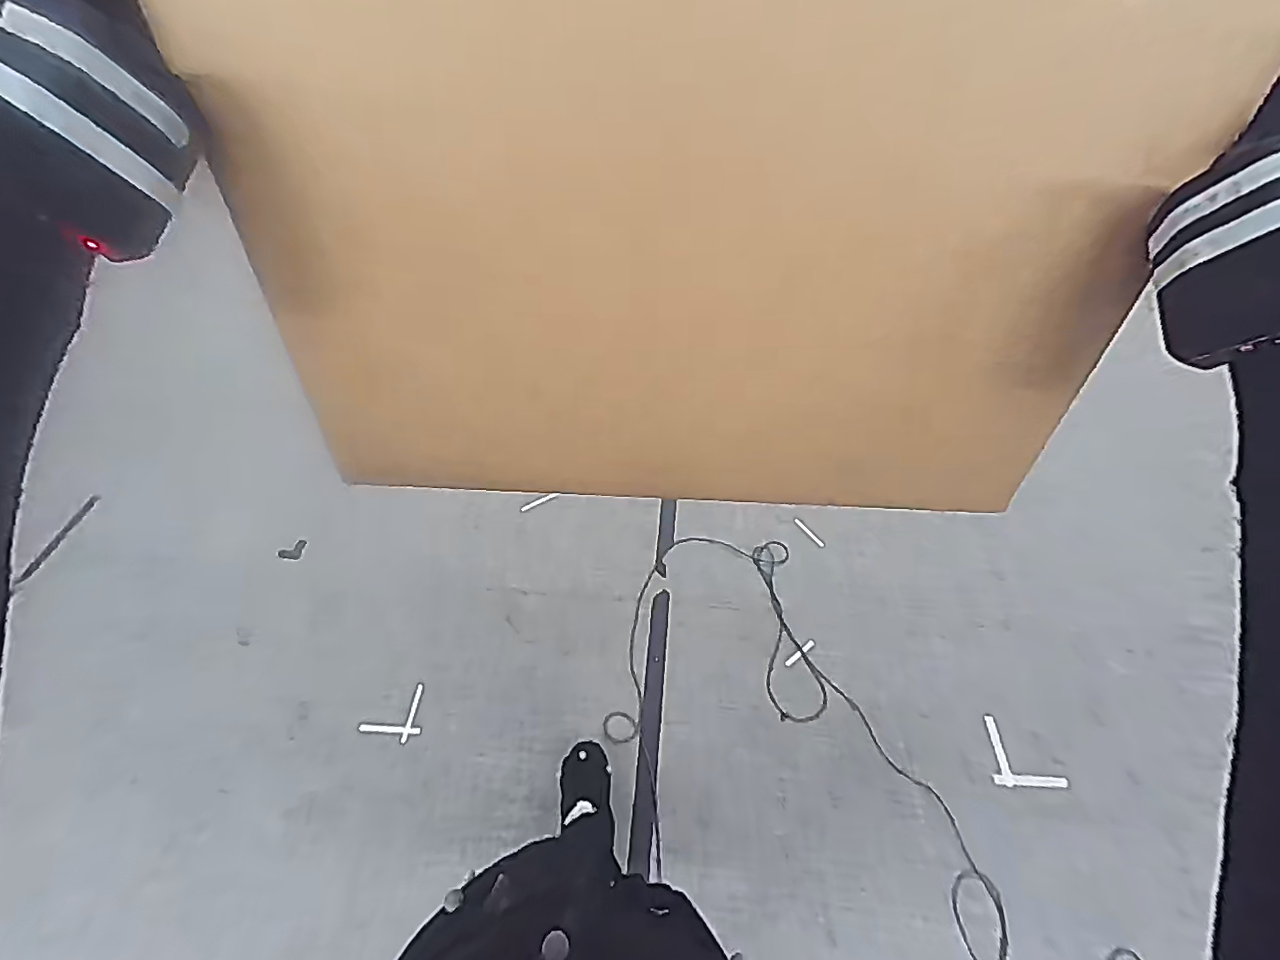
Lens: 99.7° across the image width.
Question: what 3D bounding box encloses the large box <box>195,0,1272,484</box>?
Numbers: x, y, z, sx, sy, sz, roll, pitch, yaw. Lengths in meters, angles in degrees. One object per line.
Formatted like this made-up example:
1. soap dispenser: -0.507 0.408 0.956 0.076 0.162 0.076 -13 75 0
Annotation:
1. large box: 0.030 -0.213 0.355 0.408 0.320 0.320 3 40 0
